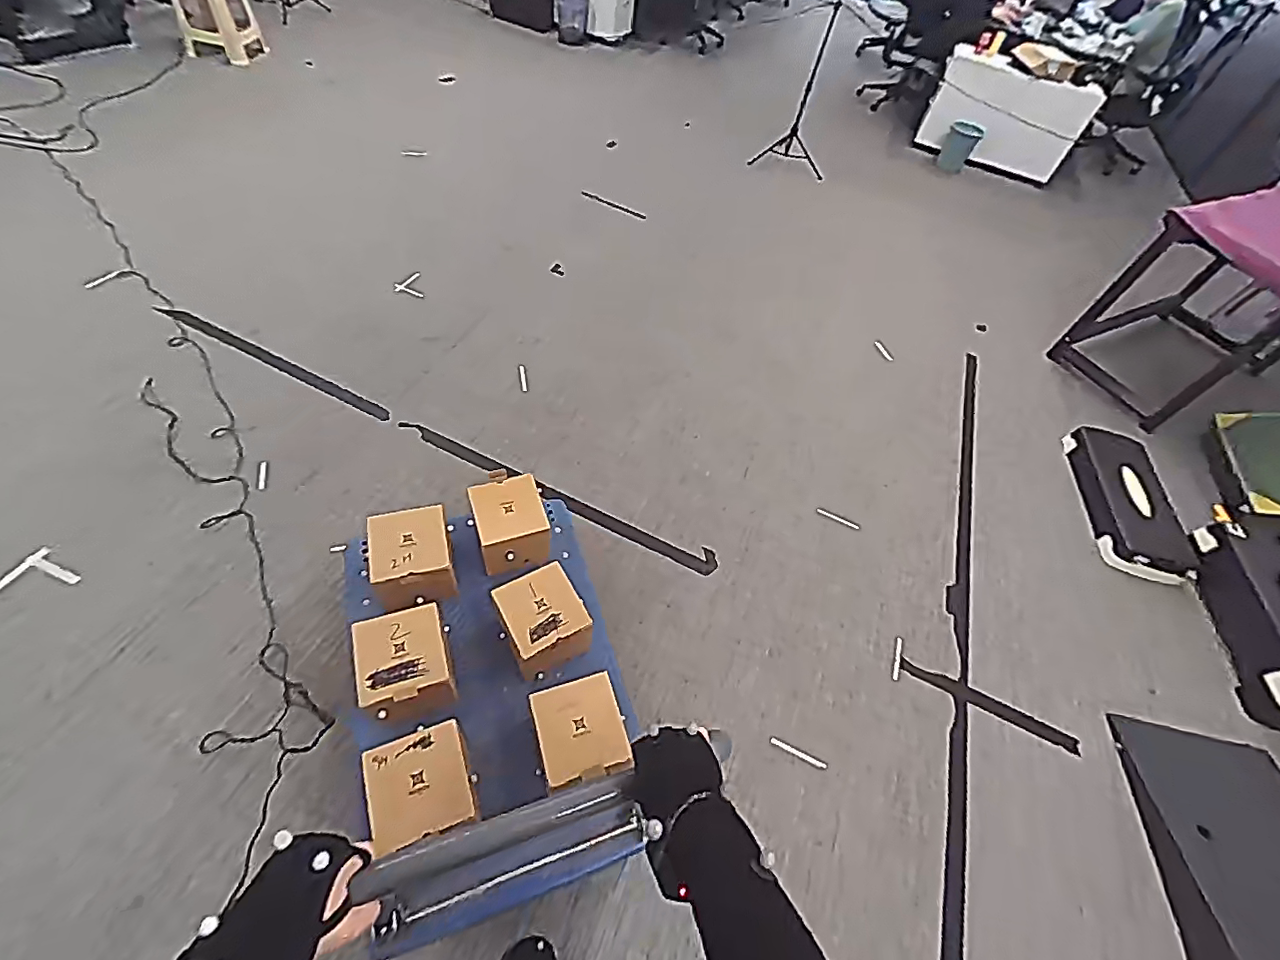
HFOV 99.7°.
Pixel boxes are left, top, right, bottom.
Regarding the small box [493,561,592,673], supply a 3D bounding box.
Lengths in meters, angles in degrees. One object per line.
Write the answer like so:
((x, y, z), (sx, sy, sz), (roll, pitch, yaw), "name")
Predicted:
((-0.225, 0.324, 1.248), (0.168, 0.176, 0.179), (-22, 60, -25), "small box")

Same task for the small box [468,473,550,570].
((-0.331, 0.113, 1.385), (0.168, 0.176, 0.179), (-14, 57, -20), "small box")

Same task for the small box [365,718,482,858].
((-0.402, 0.582, 1.020), (0.168, 0.176, 0.179), (-14, 58, -21), "small box")

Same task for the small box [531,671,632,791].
((-0.126, 0.524, 1.119), (0.168, 0.176, 0.179), (-10, 56, -19), "small box")

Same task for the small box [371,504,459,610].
((-0.534, 0.185, 1.291), (0.168, 0.176, 0.179), (-10, 57, -17), "small box")
